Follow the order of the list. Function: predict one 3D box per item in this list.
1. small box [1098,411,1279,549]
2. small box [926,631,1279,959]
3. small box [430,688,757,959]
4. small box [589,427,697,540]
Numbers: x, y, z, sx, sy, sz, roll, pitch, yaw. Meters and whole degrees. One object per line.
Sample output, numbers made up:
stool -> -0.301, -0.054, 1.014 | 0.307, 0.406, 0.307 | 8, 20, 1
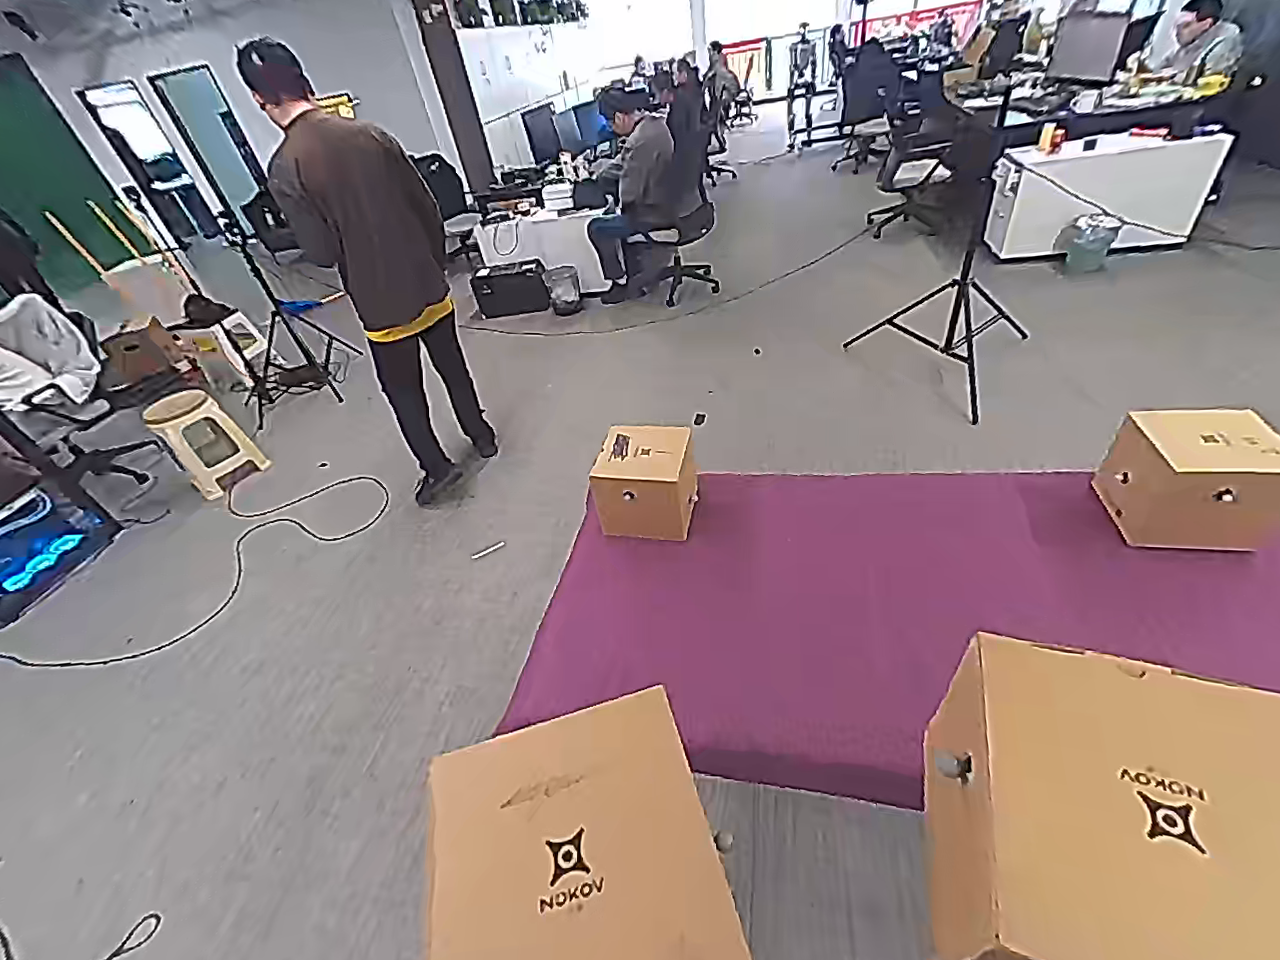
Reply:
small box -> 0.914, -0.001, 0.905 | 0.179, 0.176, 0.168 | 2, 42, 14
small box -> 0.285, 0.229, 0.335 | 0.168, 0.176, 0.179 | 8, 45, 21
small box -> -0.027, 0.279, 0.358 | 0.168, 0.176, 0.179 | -15, 39, -8
small box -> 0.015, 0.007, 1.116 | 0.179, 0.176, 0.168 | 3, 43, 15
